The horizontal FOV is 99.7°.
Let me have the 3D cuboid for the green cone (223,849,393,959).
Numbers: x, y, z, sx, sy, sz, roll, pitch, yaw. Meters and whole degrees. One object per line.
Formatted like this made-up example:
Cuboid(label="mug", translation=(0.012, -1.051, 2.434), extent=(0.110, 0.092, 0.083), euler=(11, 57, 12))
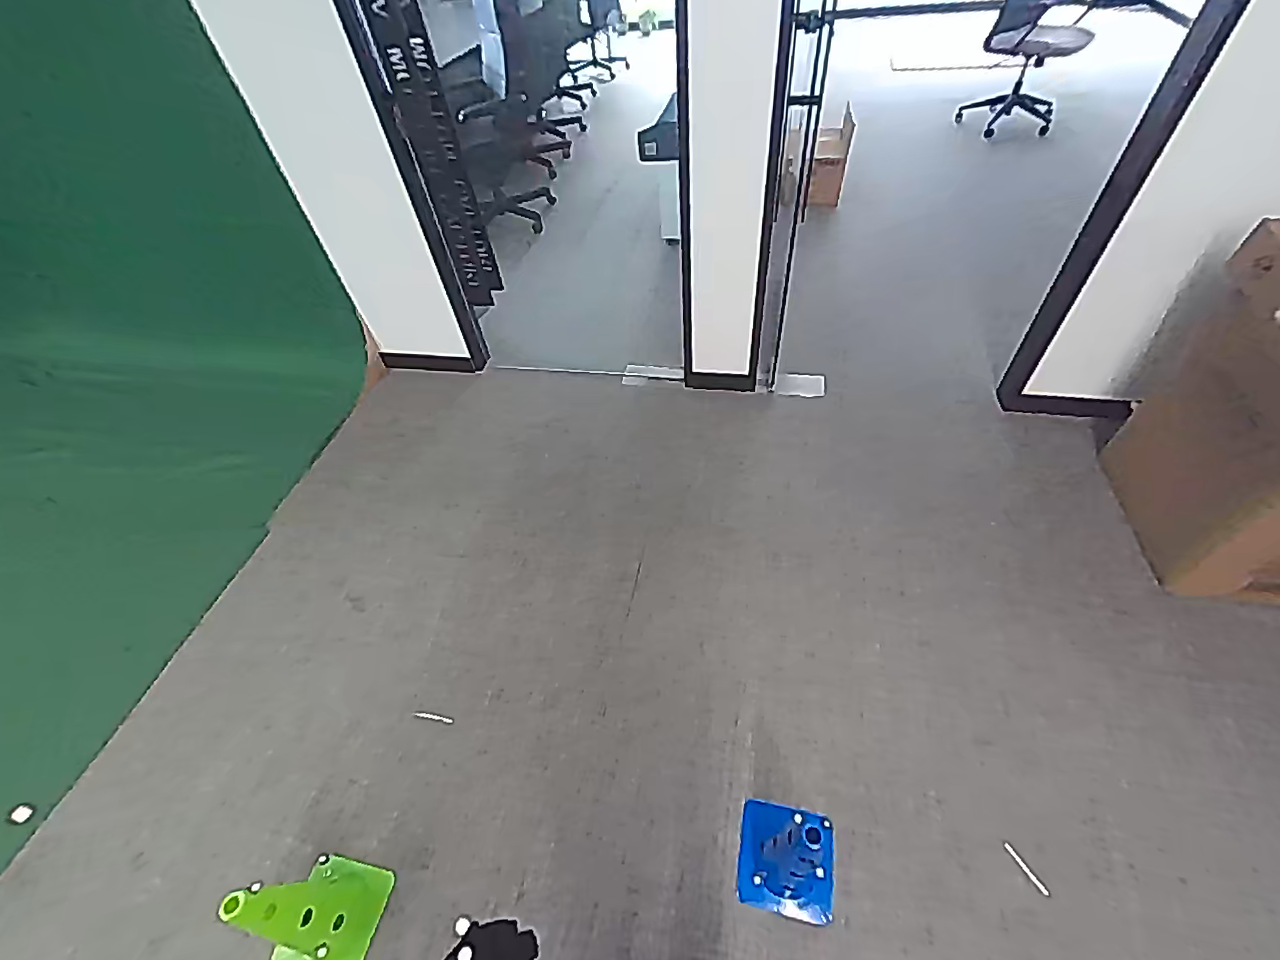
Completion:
Cuboid(label="green cone", translation=(-0.676, 0.829, 1.045), extent=(0.202, 0.368, 0.200), euler=(6, 51, 10))
